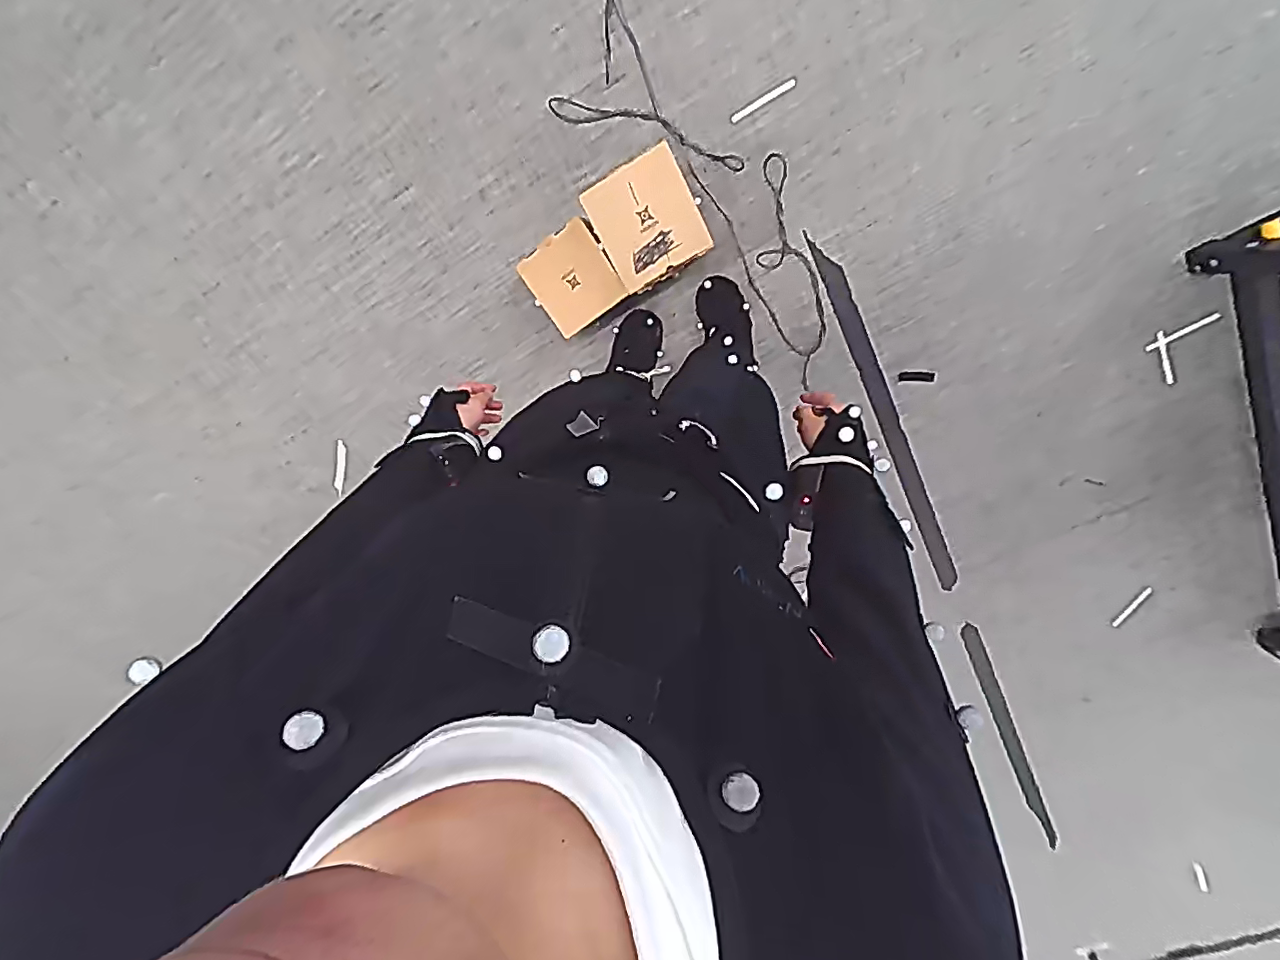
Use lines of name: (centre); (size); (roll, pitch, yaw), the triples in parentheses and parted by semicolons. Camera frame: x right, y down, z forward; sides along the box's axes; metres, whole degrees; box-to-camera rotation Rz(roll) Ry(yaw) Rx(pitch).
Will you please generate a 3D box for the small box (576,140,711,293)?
small box: (0.012, -0.452, 0.948); (0.168, 0.176, 0.179); (-26, 108, 12)
